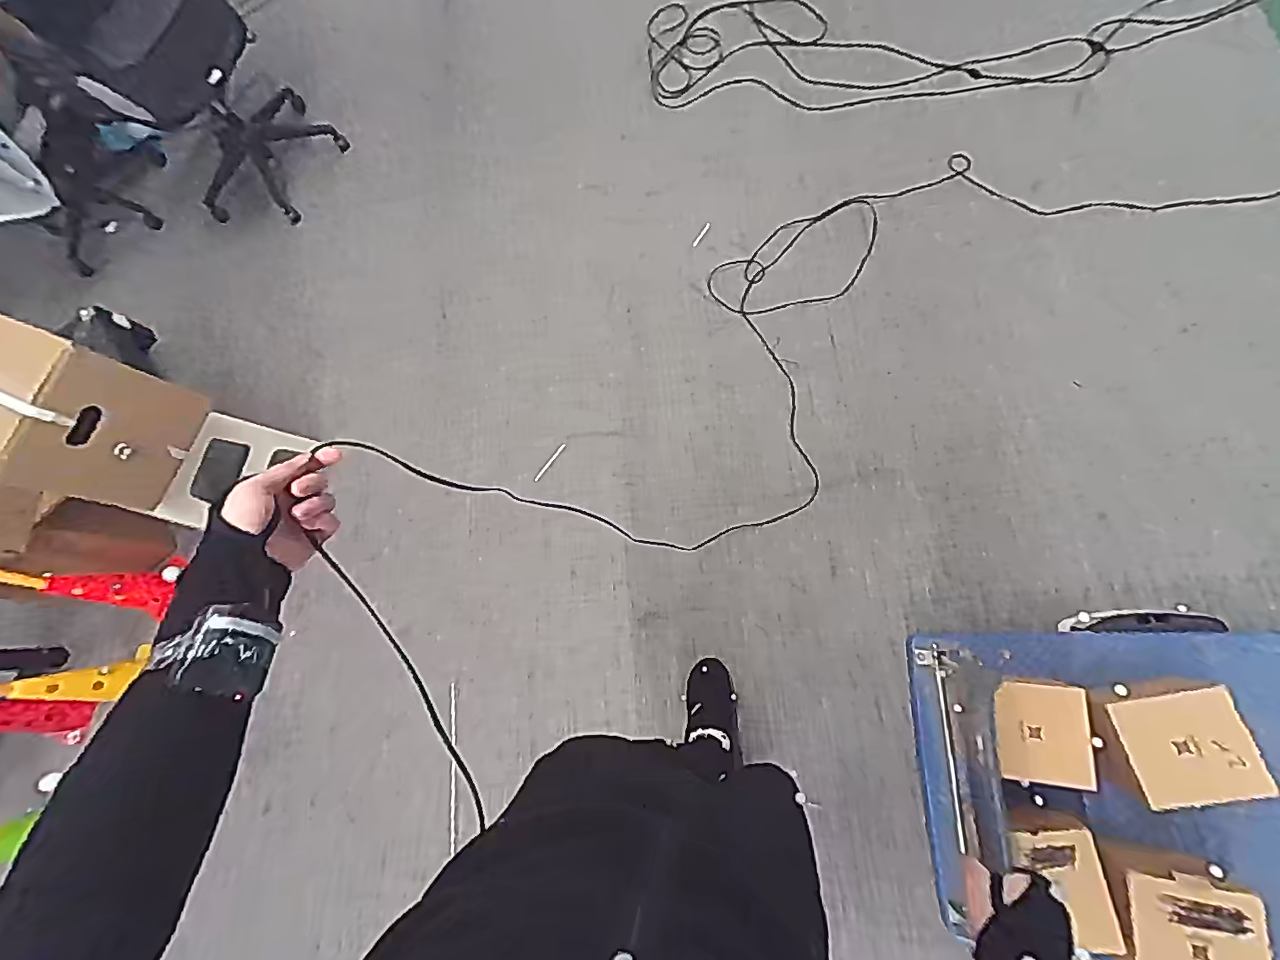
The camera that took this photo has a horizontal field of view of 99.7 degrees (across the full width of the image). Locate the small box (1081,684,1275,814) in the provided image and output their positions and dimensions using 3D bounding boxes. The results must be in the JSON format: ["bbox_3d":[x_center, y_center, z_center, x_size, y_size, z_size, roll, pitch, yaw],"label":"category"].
[{"bbox_3d":[0.914,0.465,0.953,0.179,0.176,0.168,-17,71,15],"label":"small box"}]

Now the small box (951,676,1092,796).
[{"bbox_3d":[0.712,0.473,1.028,0.179,0.176,0.168,-1,76,20],"label":"small box"}]
